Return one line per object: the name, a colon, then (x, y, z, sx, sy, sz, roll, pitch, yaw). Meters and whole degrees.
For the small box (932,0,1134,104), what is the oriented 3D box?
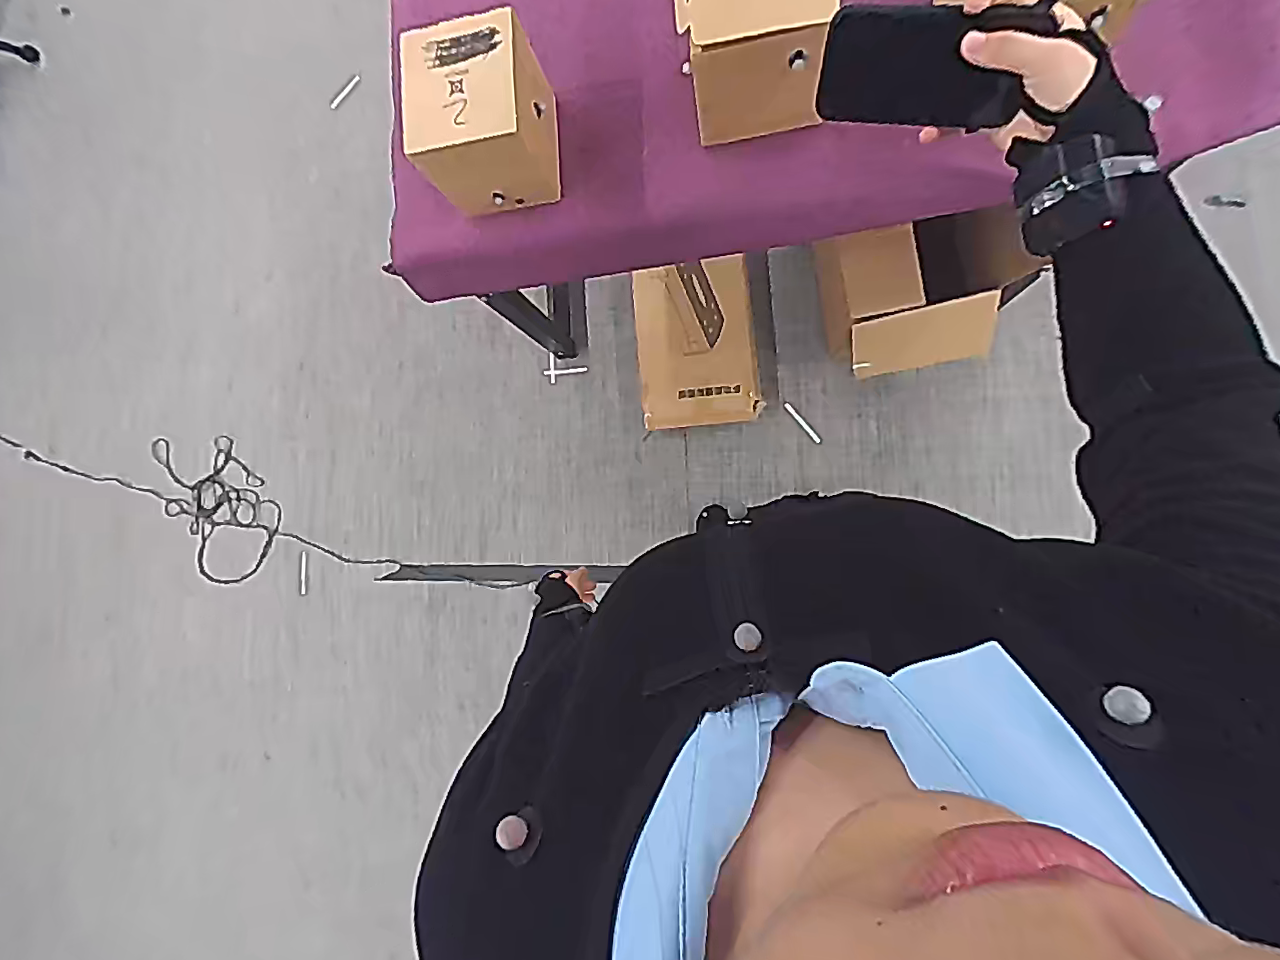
small box: (0.469, -0.591, 0.651, 0.179, 0.176, 0.168, 2, 88, 11)

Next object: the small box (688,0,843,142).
small box: (0.157, -0.590, 0.713, 0.179, 0.176, 0.168, -5, 84, 11)
